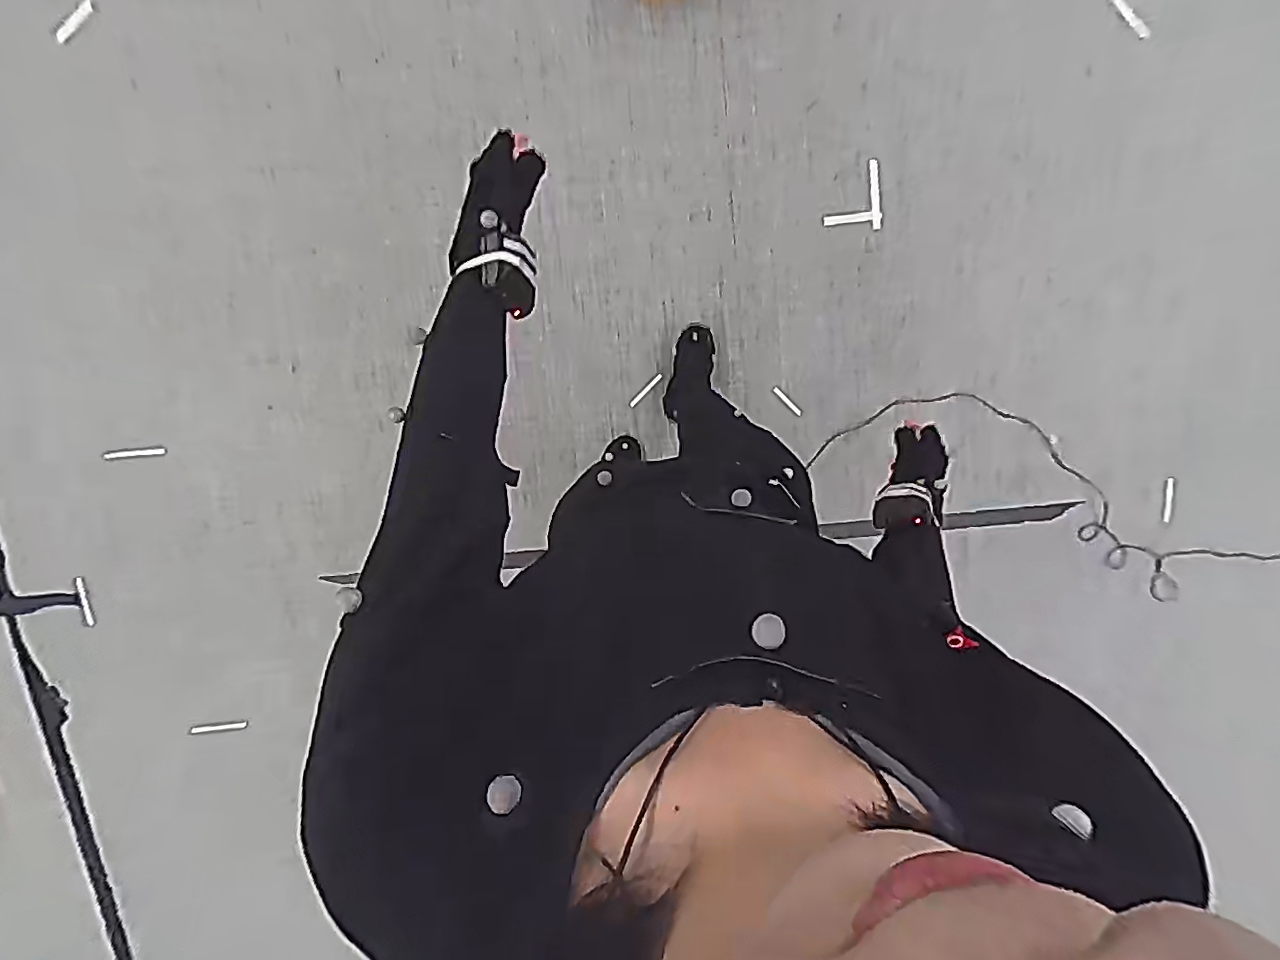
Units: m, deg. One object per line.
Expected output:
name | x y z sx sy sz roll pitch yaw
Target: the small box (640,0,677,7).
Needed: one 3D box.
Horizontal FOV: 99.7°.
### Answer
small box | 0.074 -1.246 1.241 0.179 0.176 0.168 -14 99 0
